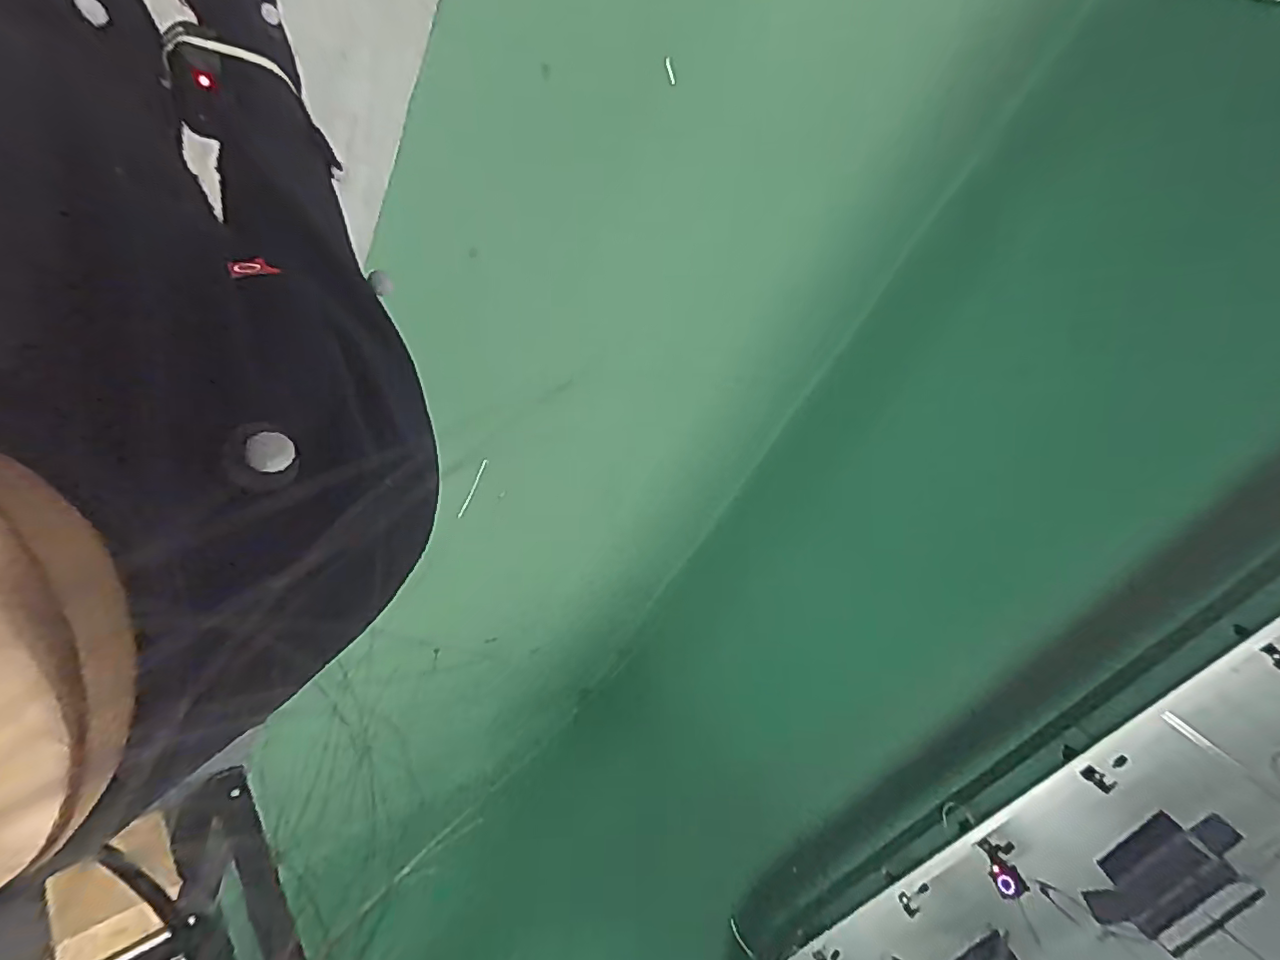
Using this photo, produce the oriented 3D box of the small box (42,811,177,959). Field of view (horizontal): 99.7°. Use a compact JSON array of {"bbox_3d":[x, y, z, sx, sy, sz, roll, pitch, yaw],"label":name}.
[{"bbox_3d":[-1.043,0.793,1.062,0.168,0.176,0.179,-6,135,-50],"label":"small box"}]
